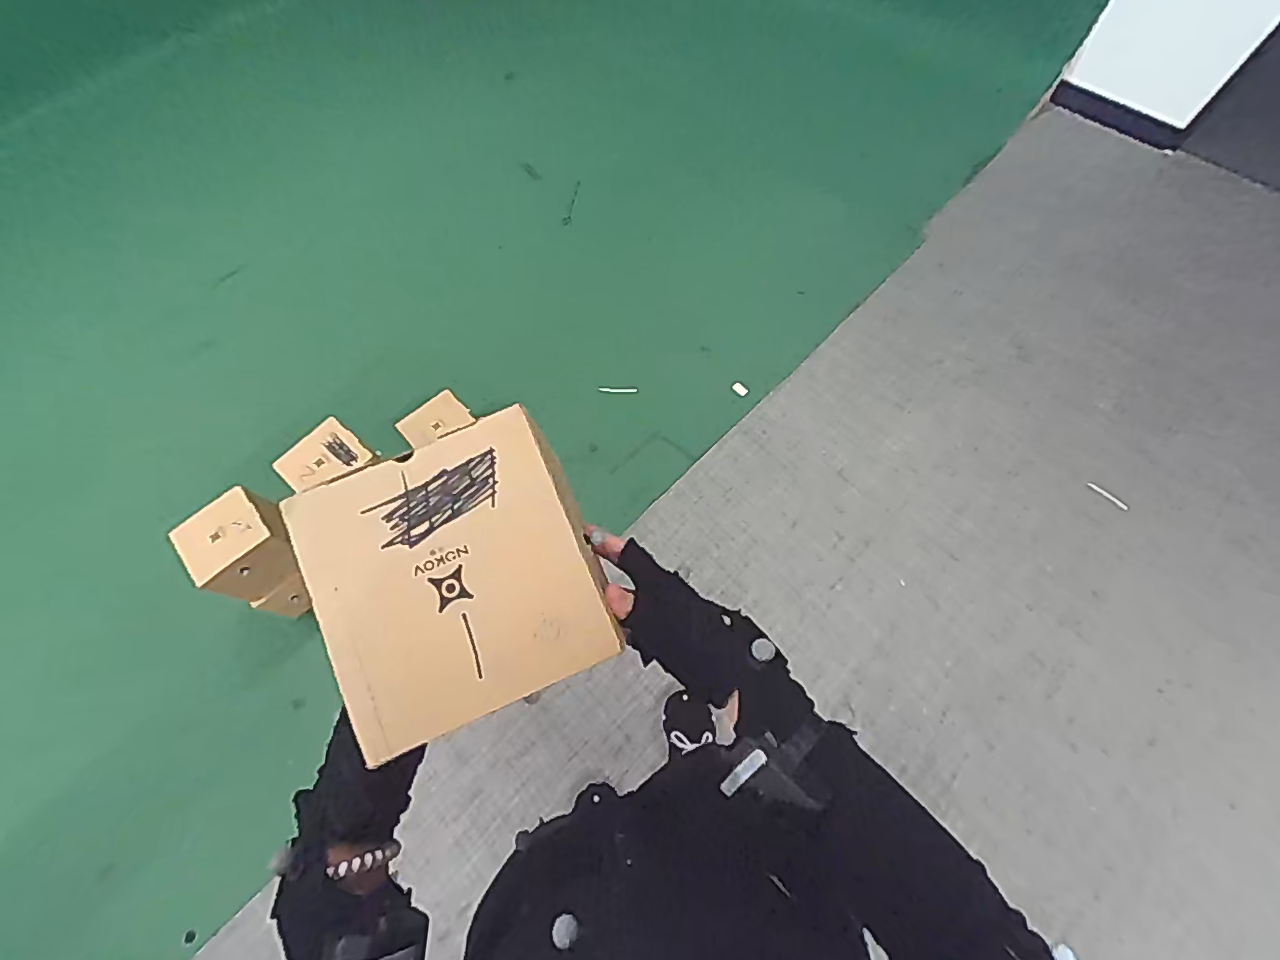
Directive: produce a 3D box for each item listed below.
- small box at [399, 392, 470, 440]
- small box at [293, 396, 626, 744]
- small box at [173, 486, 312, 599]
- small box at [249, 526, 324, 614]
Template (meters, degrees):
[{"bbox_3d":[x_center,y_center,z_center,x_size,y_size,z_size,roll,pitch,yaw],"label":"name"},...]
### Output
[{"bbox_3d":[-0.540,-0.110,1.539,0.179,0.176,0.168,-40,70,-13],"label":"small box"},{"bbox_3d":[-0.118,0.066,0.419,0.168,0.176,0.179,-23,80,-4],"label":"small box"},{"bbox_3d":[-0.912,0.152,1.259,0.179,0.176,0.168,-39,70,-13],"label":"small box"},{"bbox_3d":[-0.905,0.231,1.405,0.168,0.176,0.179,-38,70,-13],"label":"small box"}]
